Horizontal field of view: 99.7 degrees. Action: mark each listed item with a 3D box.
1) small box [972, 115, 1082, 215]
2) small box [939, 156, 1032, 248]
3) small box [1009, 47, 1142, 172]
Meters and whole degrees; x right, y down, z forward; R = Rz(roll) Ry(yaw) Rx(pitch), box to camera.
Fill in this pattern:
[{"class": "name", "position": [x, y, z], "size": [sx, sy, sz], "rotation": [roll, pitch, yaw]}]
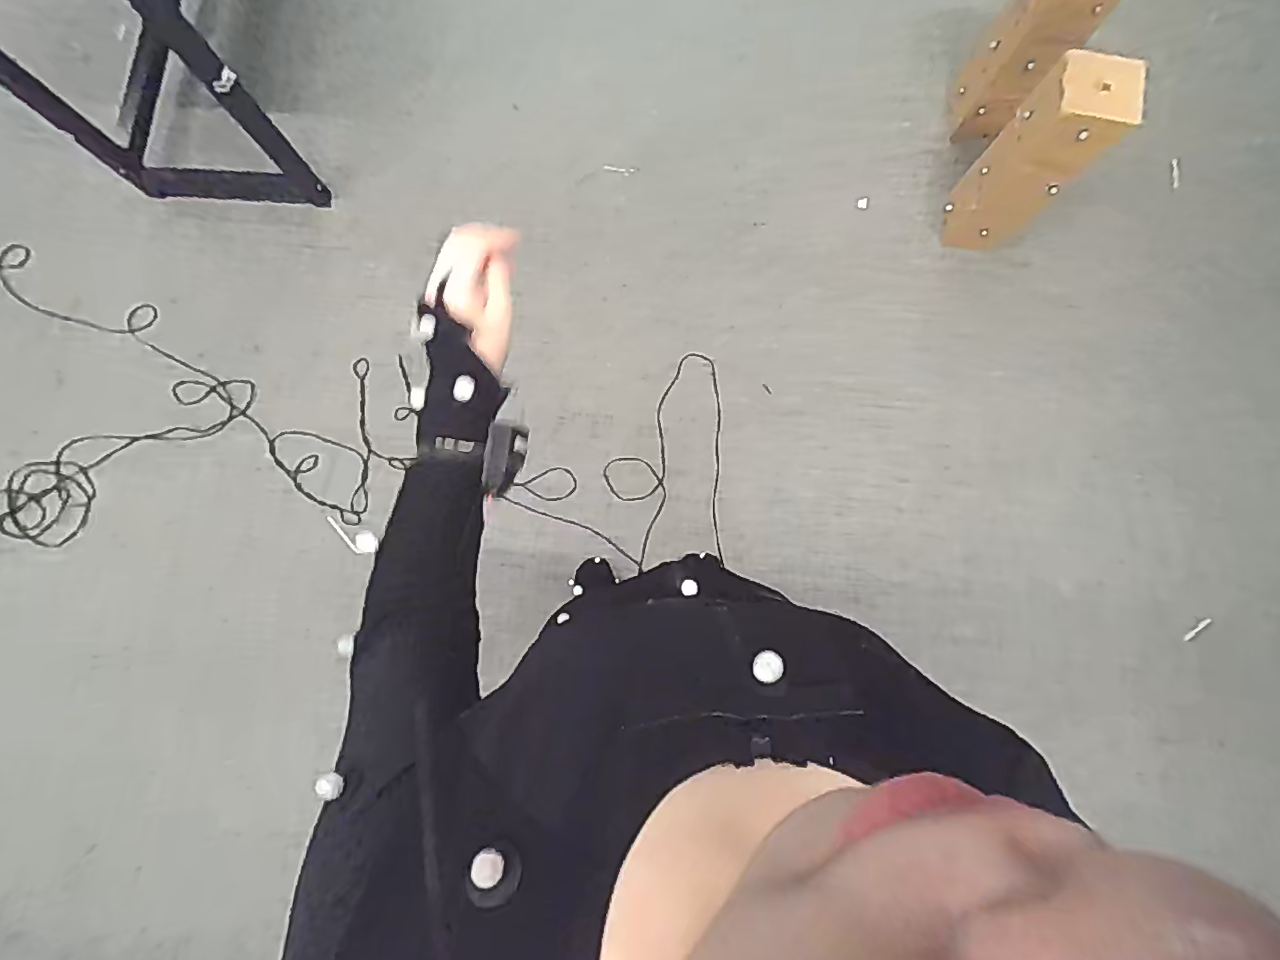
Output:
[{"class": "small box", "position": [1.027, -0.837, 1.439], "size": [0.179, 0.176, 0.168], "rotation": [8, 81, 1]}, {"class": "small box", "position": [1.024, -0.815, 1.603], "size": [0.179, 0.176, 0.168], "rotation": [10, 81, 2]}, {"class": "small box", "position": [1.023, -0.866, 1.279], "size": [0.179, 0.176, 0.168], "rotation": [11, 82, 2]}]
